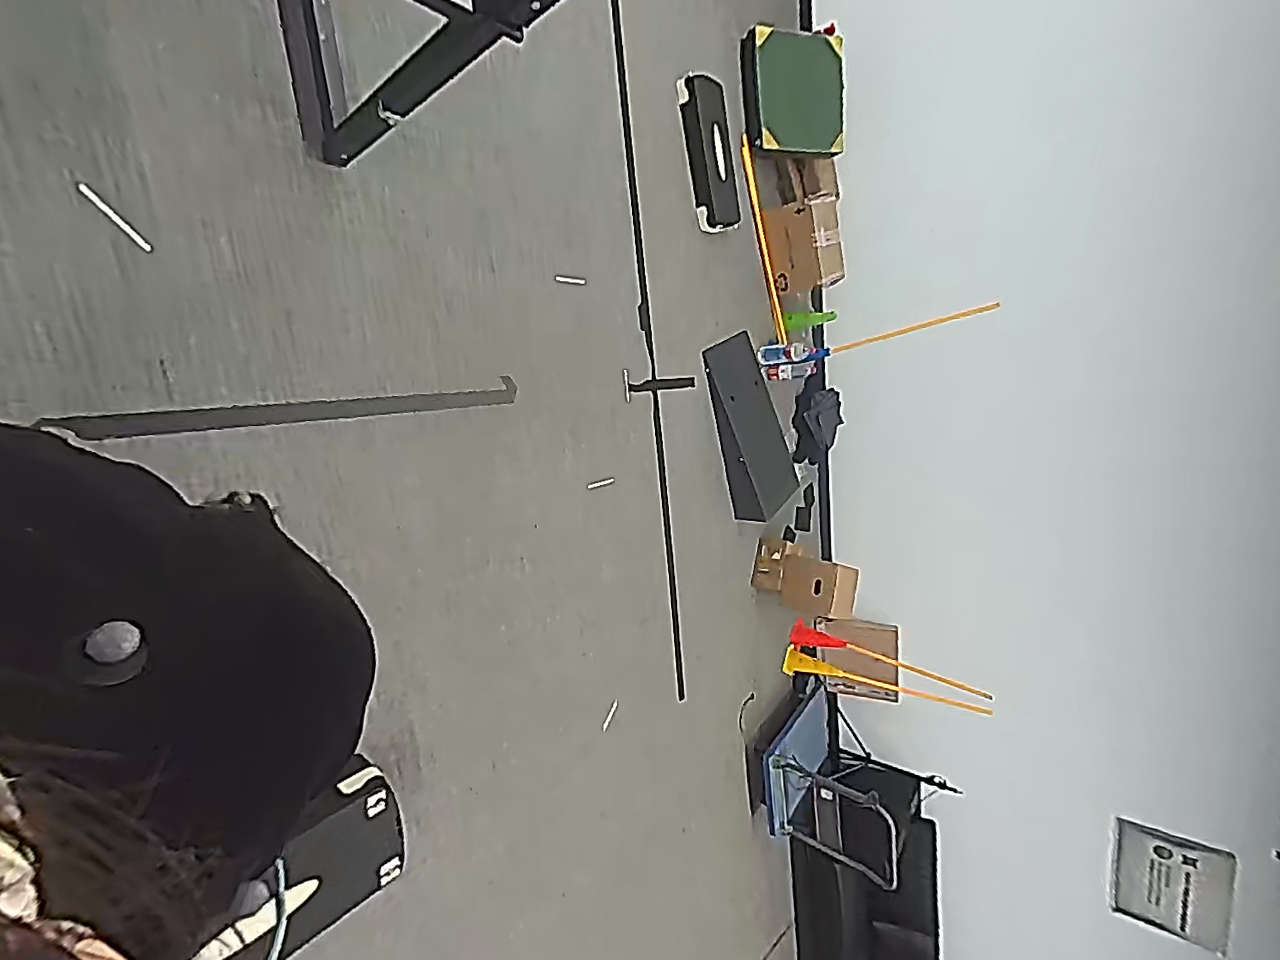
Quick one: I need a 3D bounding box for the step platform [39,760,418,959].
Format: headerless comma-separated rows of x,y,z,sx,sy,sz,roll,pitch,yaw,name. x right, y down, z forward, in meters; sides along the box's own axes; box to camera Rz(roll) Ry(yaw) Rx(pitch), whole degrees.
-0.871,0.953,1.246,0.684,0.204,0.286,-8,98,-51,step platform
